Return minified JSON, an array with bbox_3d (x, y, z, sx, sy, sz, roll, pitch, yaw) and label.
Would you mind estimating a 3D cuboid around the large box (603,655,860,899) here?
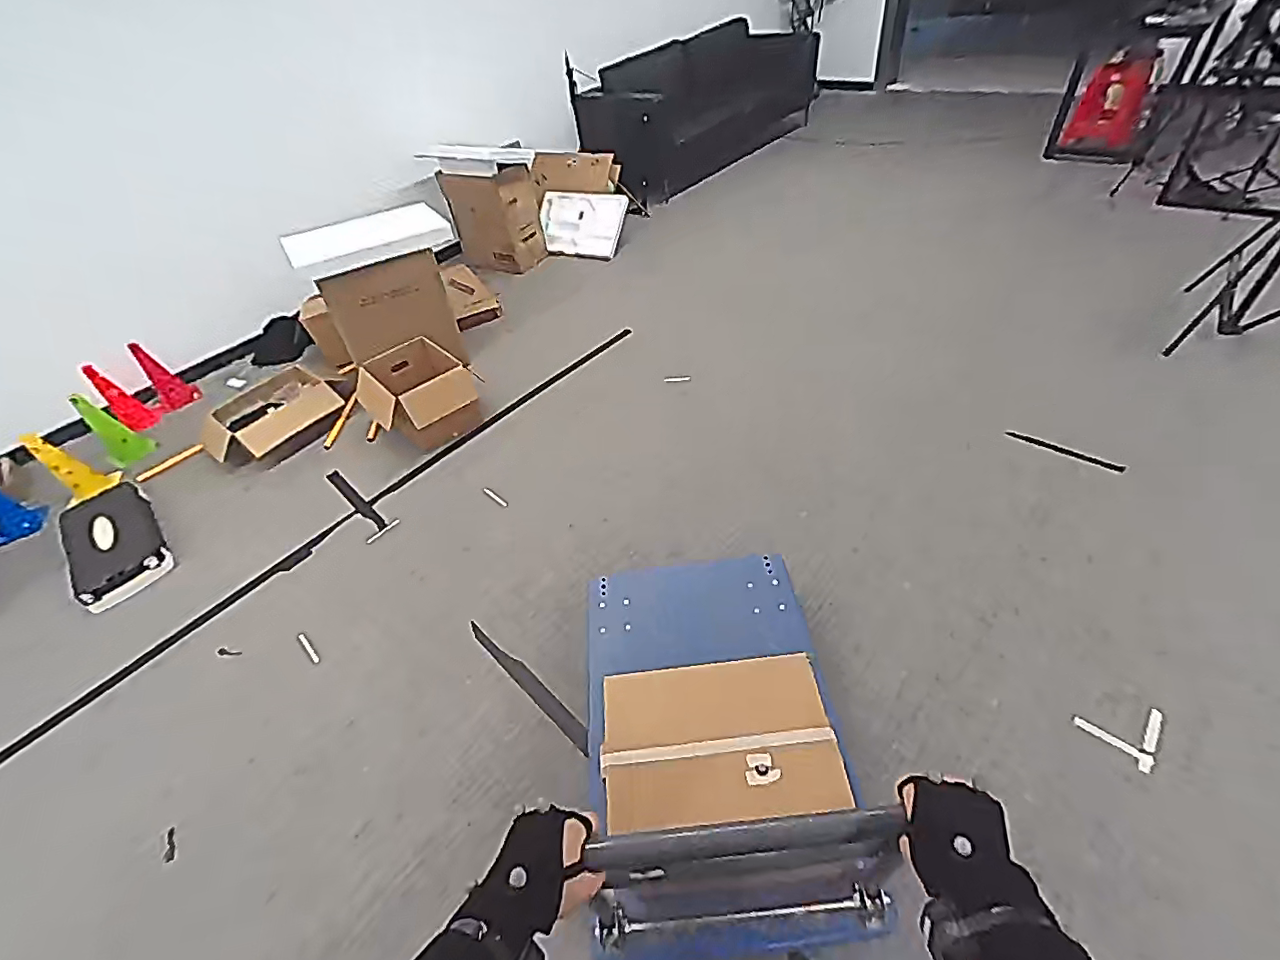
[{"bbox_3d":[0.151,0.581,1.056,0.408,0.320,0.320,-7,45,1],"label":"large box"}]
